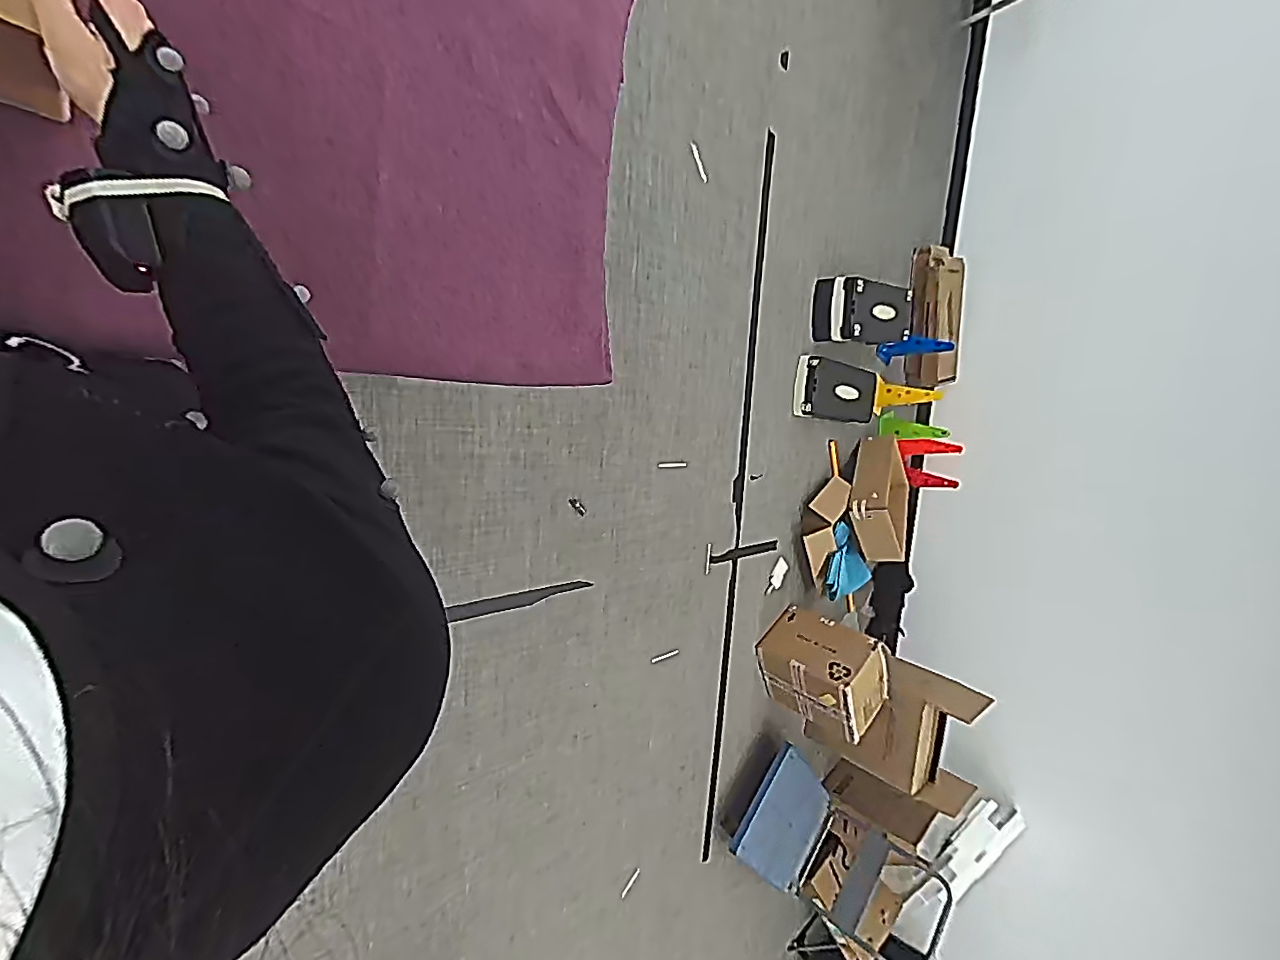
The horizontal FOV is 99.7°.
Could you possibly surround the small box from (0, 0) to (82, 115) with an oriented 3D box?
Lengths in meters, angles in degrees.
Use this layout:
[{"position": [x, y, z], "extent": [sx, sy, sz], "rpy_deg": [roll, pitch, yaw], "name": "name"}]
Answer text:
[{"position": [-0.454, -0.366, 0.320], "extent": [0.168, 0.176, 0.179], "rpy_deg": [2, 98, -44], "name": "small box"}]
